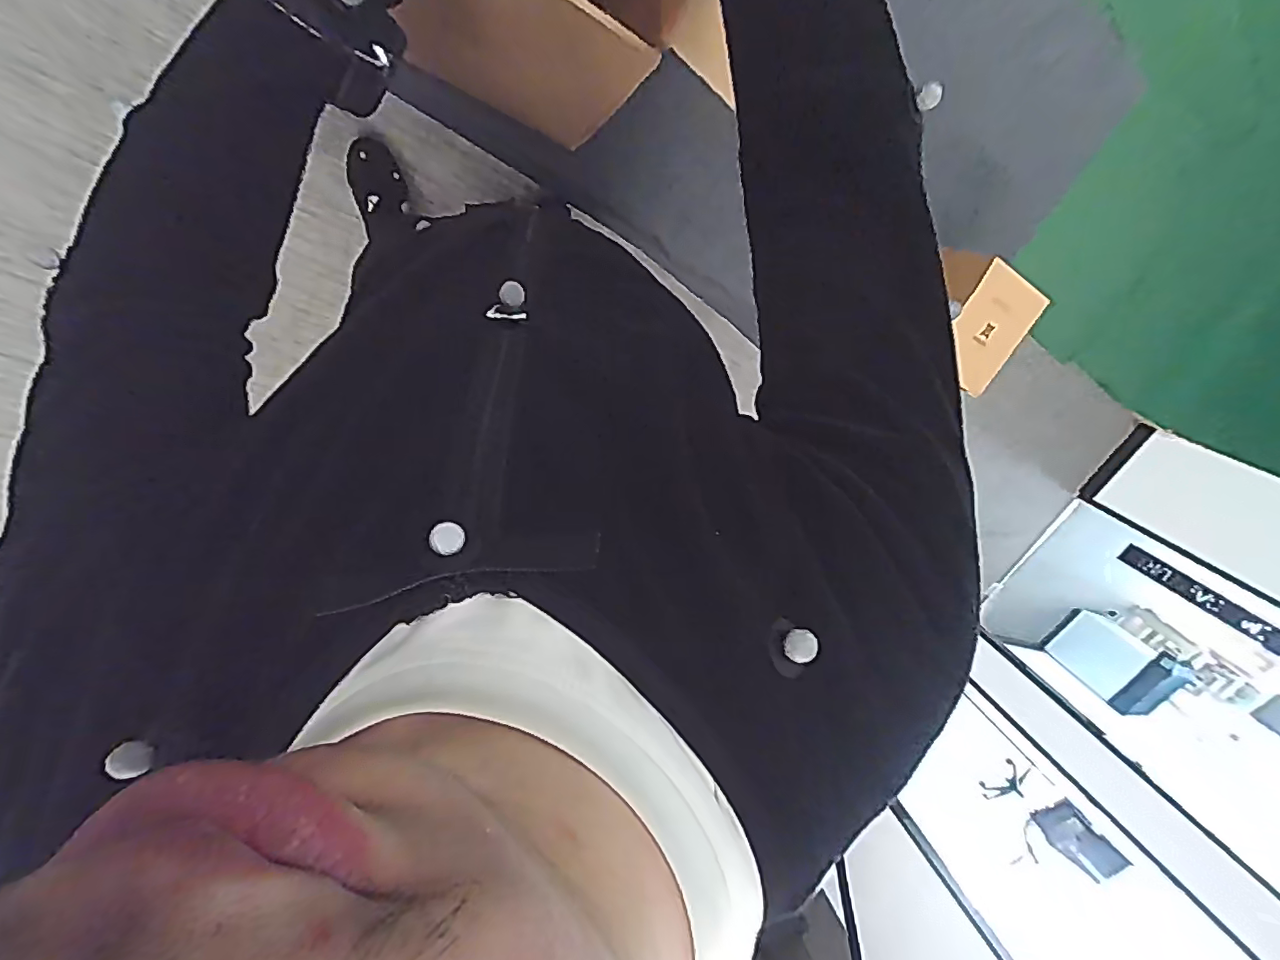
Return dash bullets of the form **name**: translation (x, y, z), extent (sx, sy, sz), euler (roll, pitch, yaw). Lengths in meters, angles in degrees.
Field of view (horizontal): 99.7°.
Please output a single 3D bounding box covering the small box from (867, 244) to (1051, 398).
- **small box**: translation (0.514, -0.266, 0.901), extent (0.168, 0.176, 0.179), euler (15, 113, -30)
